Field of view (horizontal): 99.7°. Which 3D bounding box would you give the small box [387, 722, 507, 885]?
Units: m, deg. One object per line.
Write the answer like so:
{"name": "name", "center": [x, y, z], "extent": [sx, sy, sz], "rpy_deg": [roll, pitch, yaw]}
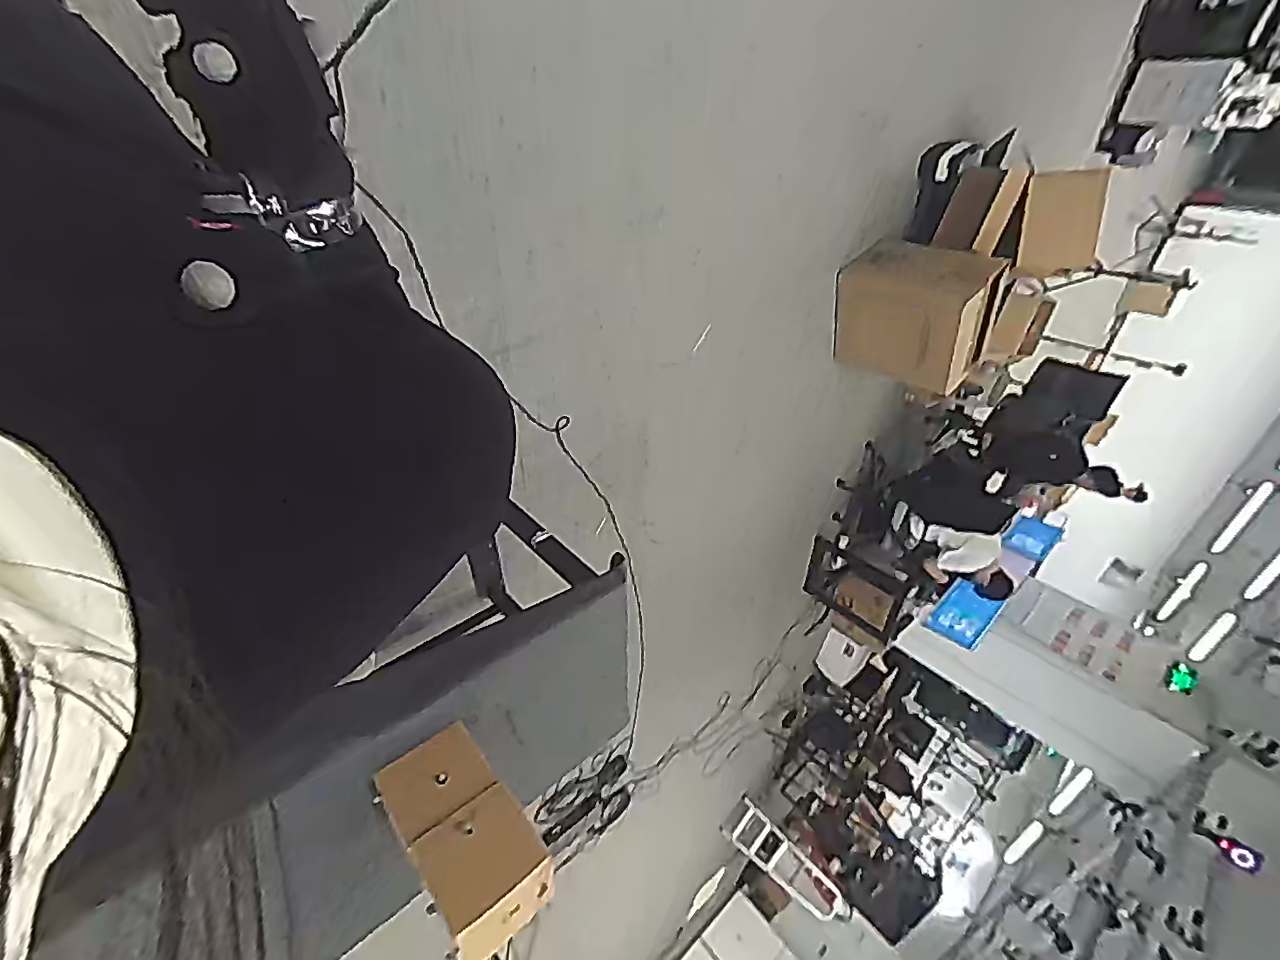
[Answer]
{"name": "small box", "center": [-0.371, 0.619, 1.052], "extent": [0.179, 0.176, 0.168], "rpy_deg": [-26, 133, -35]}

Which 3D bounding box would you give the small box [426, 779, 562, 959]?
{"name": "small box", "center": [-0.258, 0.681, 0.950], "extent": [0.179, 0.176, 0.168], "rpy_deg": [-24, 132, -35]}
